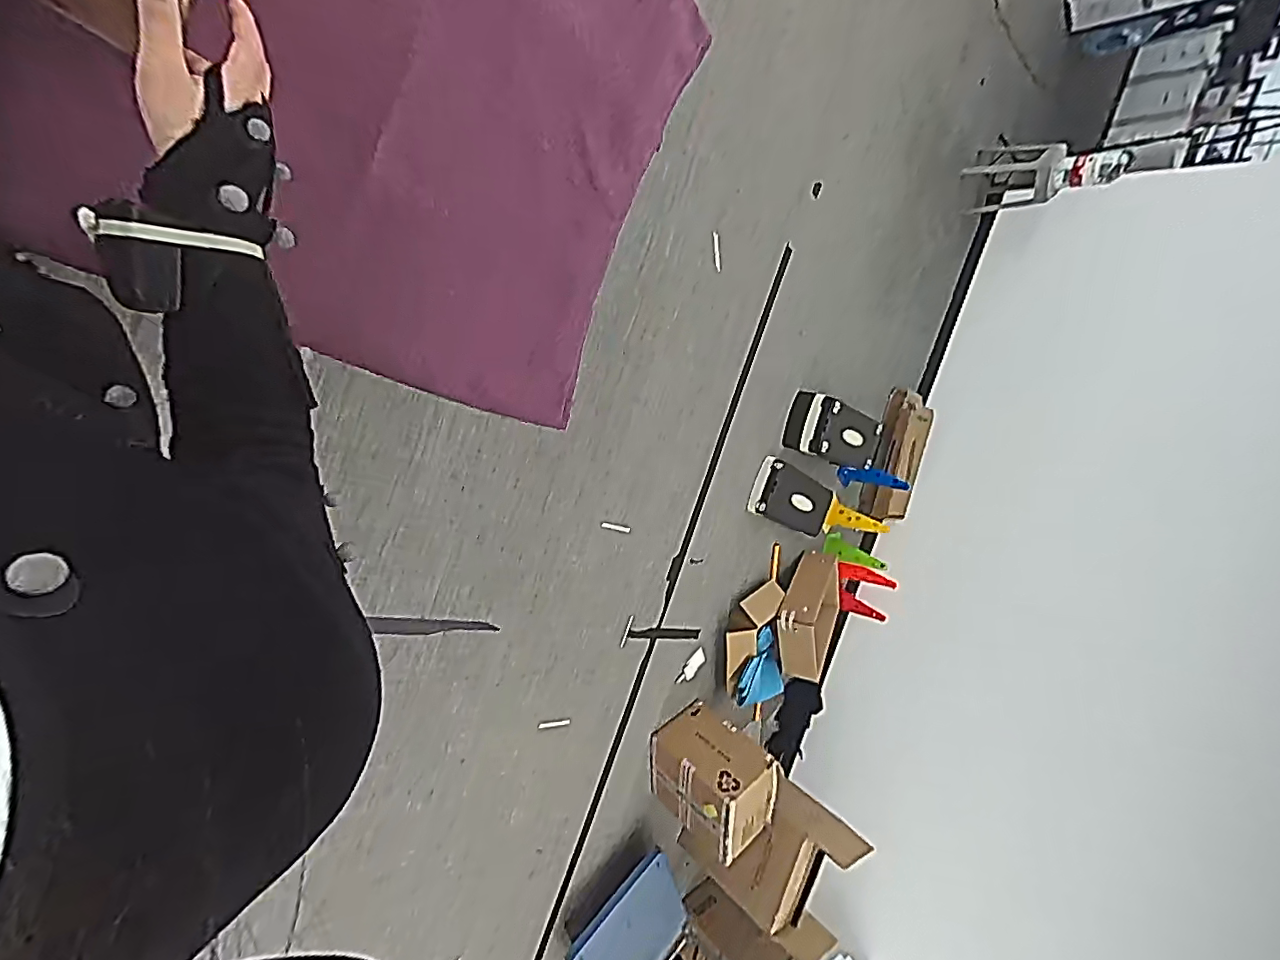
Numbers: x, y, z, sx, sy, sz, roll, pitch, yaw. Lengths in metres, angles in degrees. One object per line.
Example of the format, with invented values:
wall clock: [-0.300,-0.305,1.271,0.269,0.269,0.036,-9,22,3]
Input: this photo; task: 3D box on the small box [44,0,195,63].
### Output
small box: [-0.353,-0.410,0.325,0.168,0.176,0.179,20,90,-47]
